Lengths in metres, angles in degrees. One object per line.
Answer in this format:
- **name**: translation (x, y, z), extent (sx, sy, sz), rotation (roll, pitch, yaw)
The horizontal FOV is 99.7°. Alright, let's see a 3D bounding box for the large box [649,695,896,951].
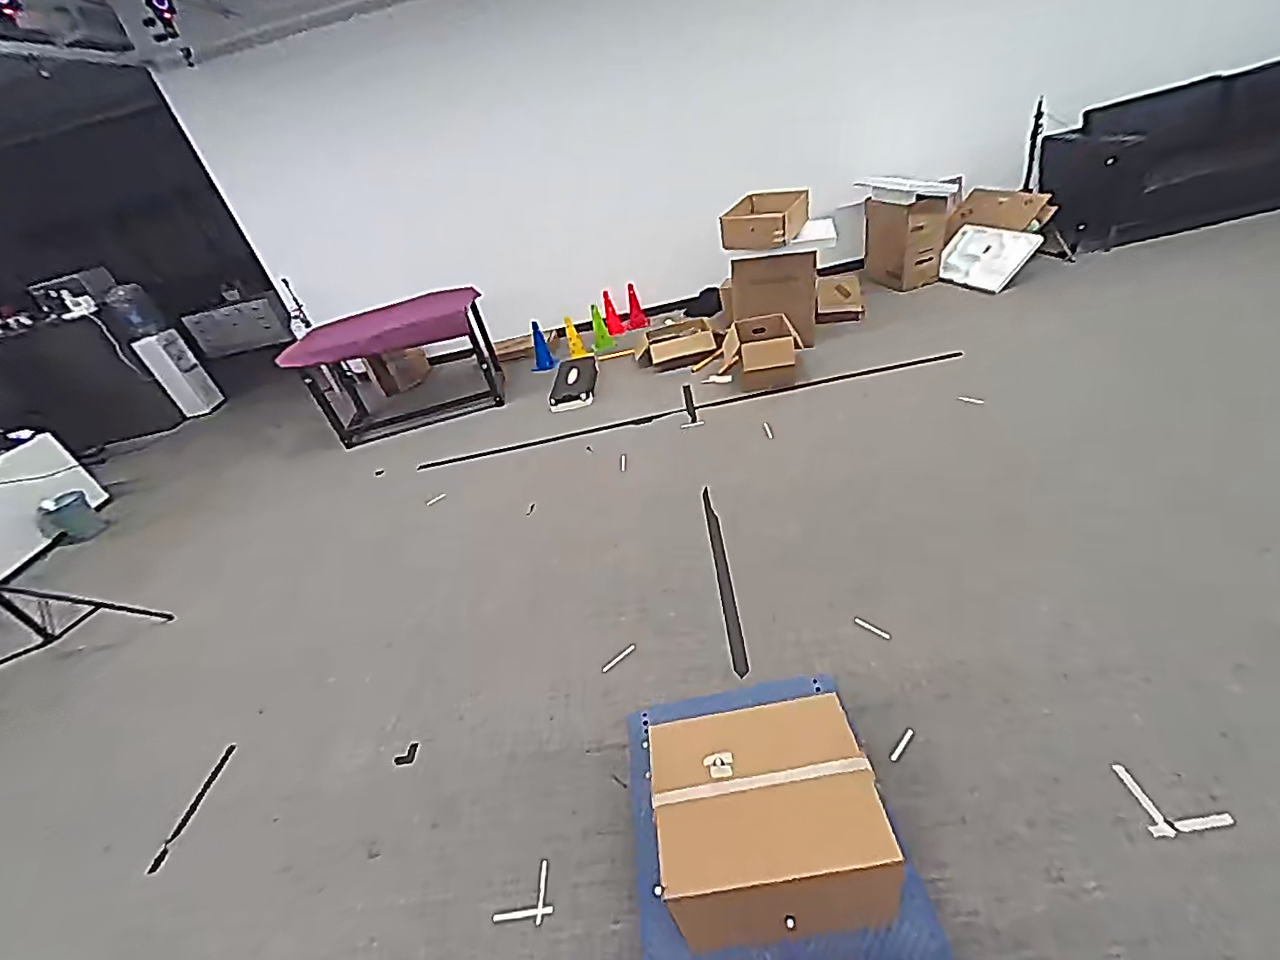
- **large box**: translation (0.259, 0.705, 1.117), extent (0.408, 0.320, 0.320), rotation (-13, 33, 4)
